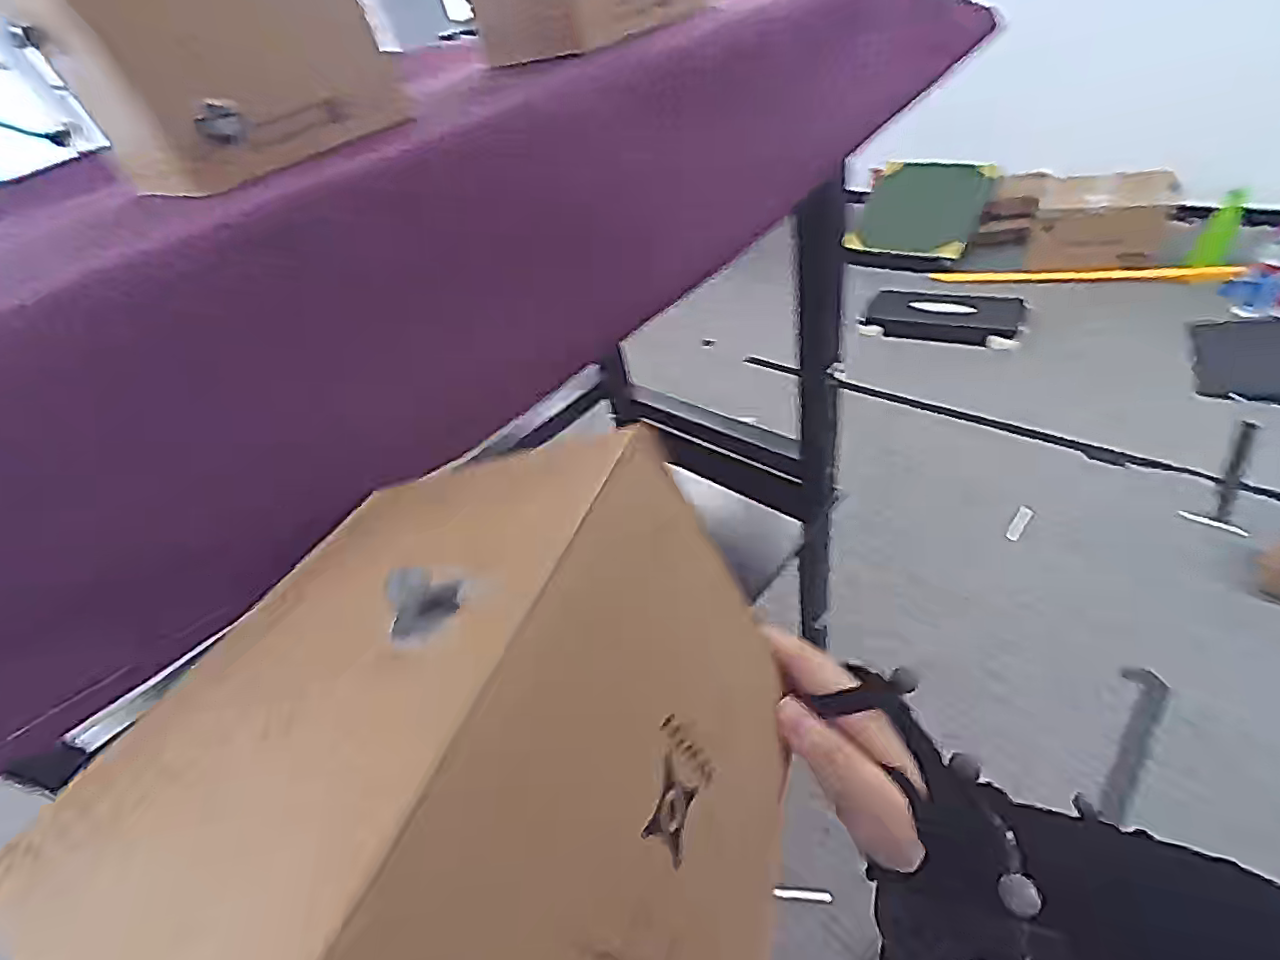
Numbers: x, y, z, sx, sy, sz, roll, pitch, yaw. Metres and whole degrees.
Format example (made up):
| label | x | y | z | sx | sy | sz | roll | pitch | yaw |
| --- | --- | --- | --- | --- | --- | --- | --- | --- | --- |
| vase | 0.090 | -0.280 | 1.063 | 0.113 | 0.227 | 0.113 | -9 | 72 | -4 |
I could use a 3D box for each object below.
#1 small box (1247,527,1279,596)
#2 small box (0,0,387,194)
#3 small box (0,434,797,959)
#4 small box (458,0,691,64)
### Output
| label | x | y | z | sx | sy | sz | roll | pitch | yaw |
| --- | --- | --- | --- | --- | --- | --- | --- | --- | --- |
| small box | 1.708 | 0.206 | 1.359 | 0.179 | 0.176 | 0.168 | 29 | 59 | 36 |
| small box | -0.310 | -0.307 | 0.360 | 0.179 | 0.176 | 0.168 | 21 | 54 | 35 |
| small box | -0.057 | 0.109 | 0.203 | 0.176 | 0.168 | 0.179 | -13 | 31 | 33 |
| small box | -0.077 | -0.504 | 0.491 | 0.168 | 0.176 | 0.179 | -40 | 47 | -22 |
